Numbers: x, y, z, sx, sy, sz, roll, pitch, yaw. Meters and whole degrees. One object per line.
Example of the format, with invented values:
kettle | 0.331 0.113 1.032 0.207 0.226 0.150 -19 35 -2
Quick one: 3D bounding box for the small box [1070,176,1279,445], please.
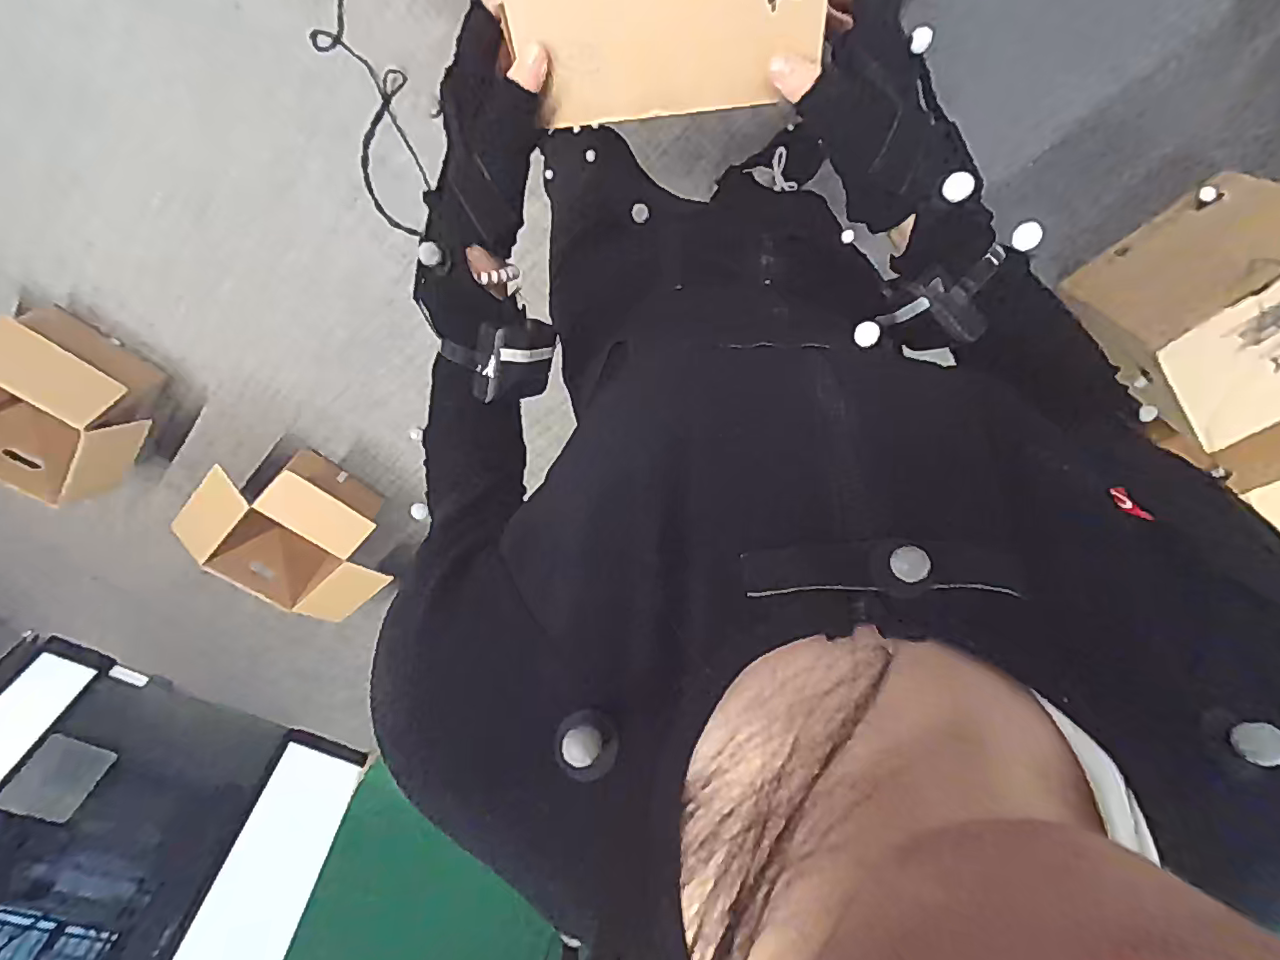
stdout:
small box | 0.593 -0.176 0.550 0.179 0.176 0.168 36 123 -25
